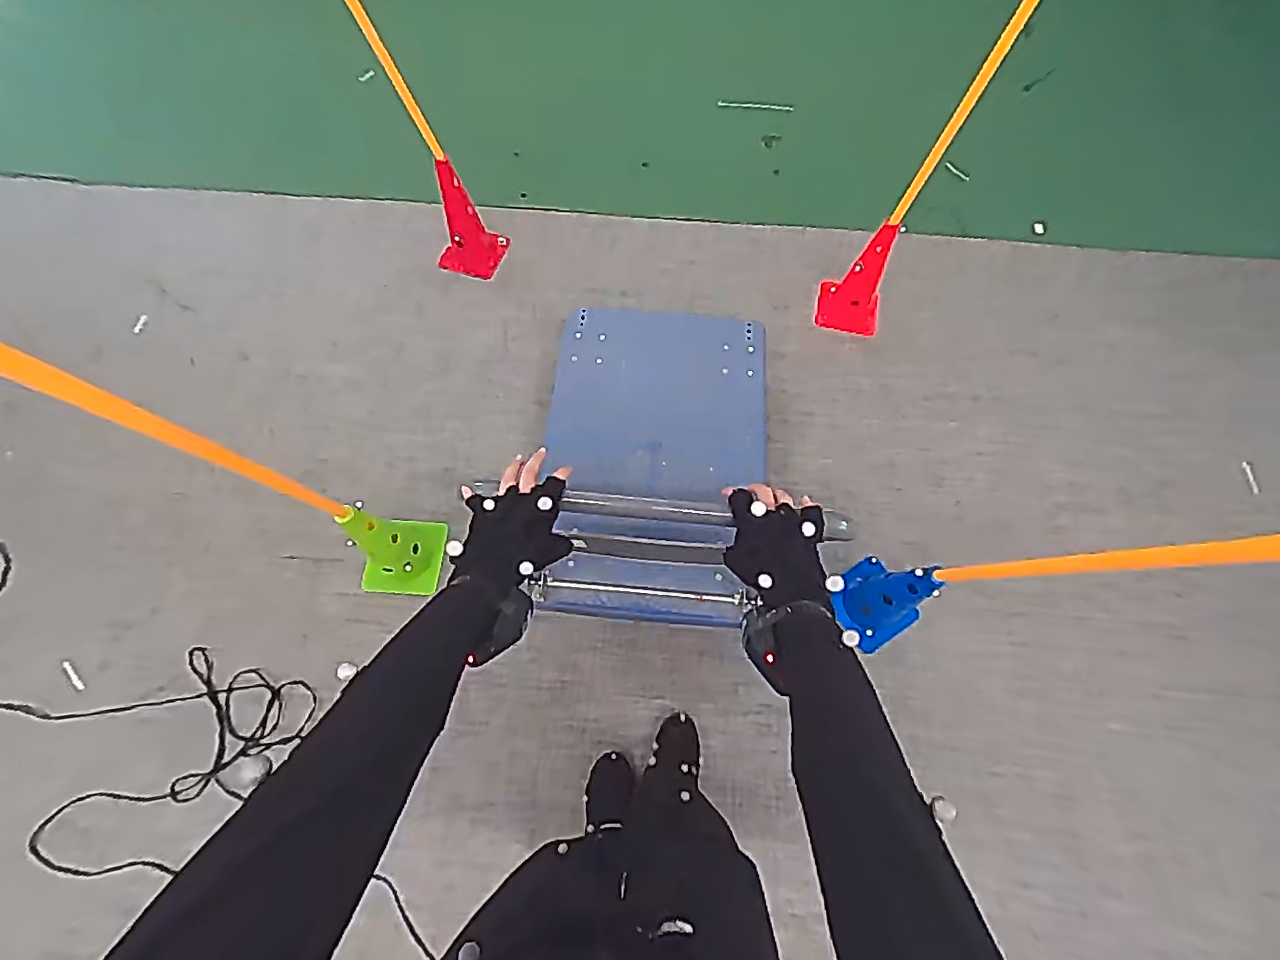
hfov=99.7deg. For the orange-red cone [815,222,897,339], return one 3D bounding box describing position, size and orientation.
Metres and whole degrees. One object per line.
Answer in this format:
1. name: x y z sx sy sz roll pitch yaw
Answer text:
1. orange-red cone: 0.695 -0.631 1.656 0.198 0.360 0.199 14 68 6
